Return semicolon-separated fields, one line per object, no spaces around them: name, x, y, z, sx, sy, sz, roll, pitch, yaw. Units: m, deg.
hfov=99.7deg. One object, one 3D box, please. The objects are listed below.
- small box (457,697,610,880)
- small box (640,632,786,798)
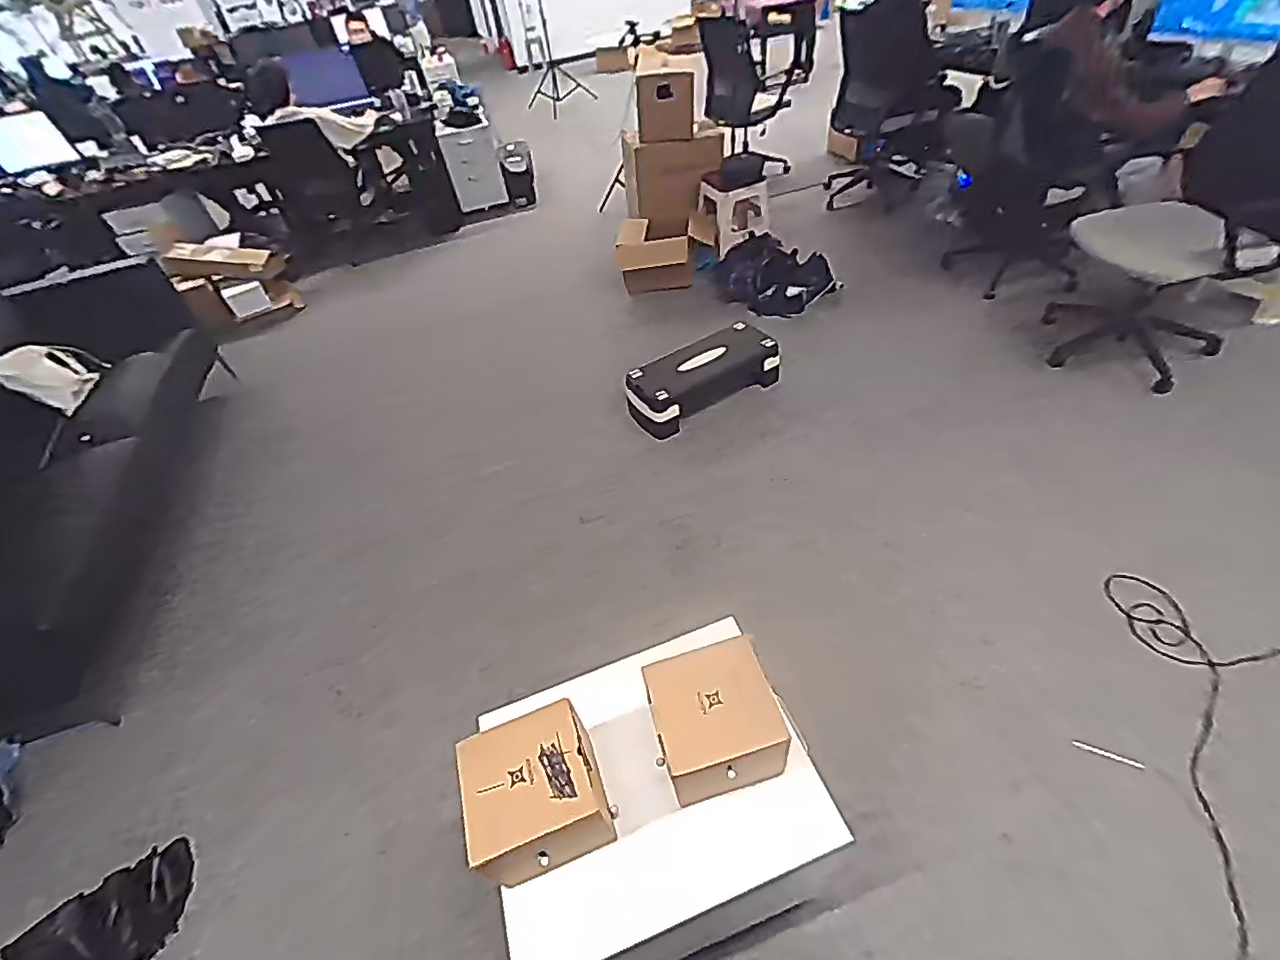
small box;-0.151;0.460;0.806;0.179;0.176;0.168;-20;46;-8
small box;0.112;0.371;0.846;0.179;0.176;0.168;-16;47;-5
